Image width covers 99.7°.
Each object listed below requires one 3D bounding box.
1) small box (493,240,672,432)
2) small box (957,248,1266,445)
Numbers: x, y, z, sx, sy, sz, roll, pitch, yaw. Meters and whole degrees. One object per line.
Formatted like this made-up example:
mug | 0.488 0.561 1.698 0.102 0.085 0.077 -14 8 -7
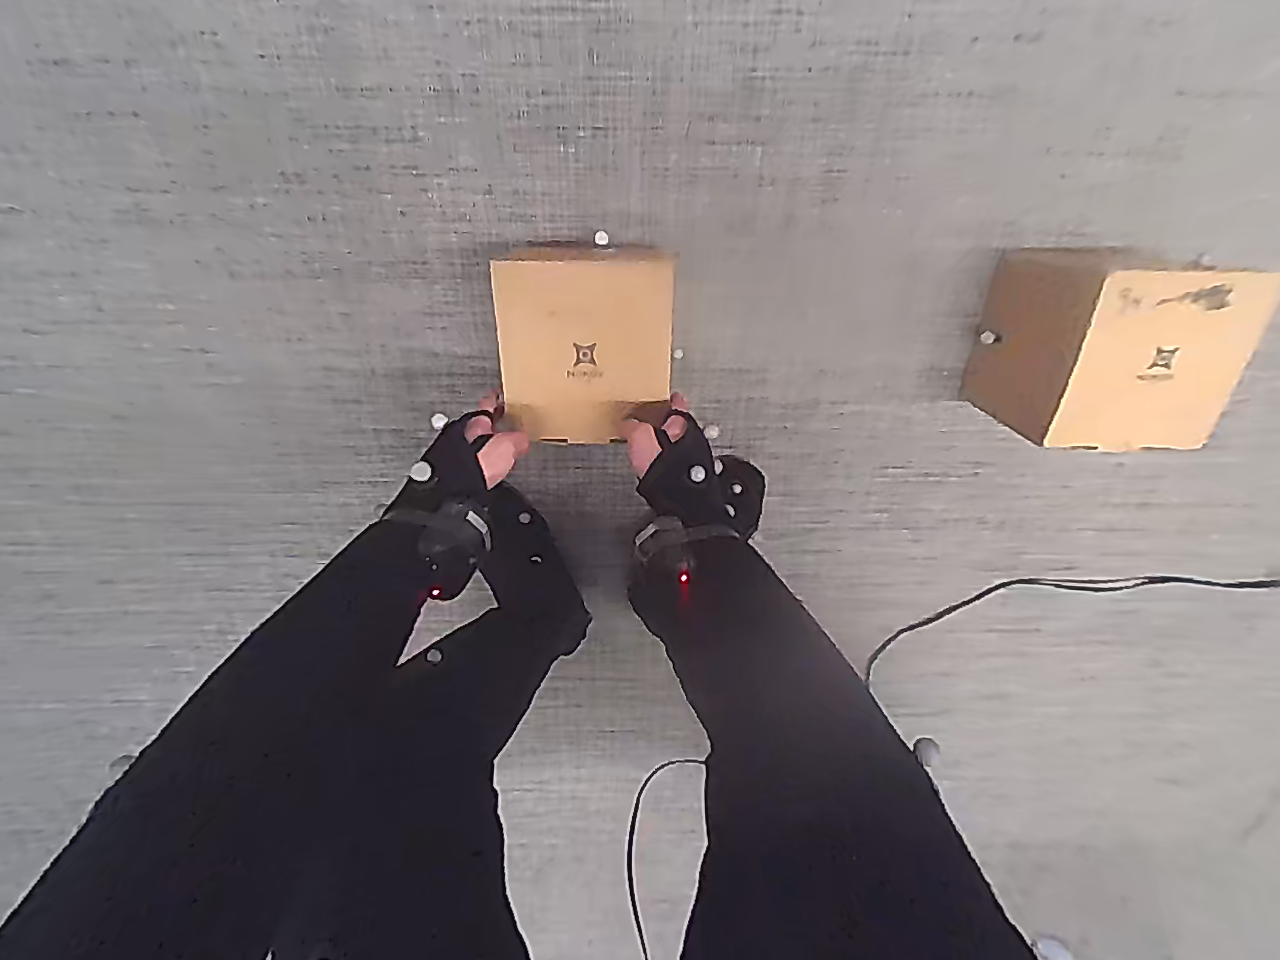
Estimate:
small box | -0.054 -0.164 0.598 0.168 0.176 0.179 -1 116 -2
small box | 0.492 -0.155 0.605 0.168 0.176 0.179 1 118 -1
